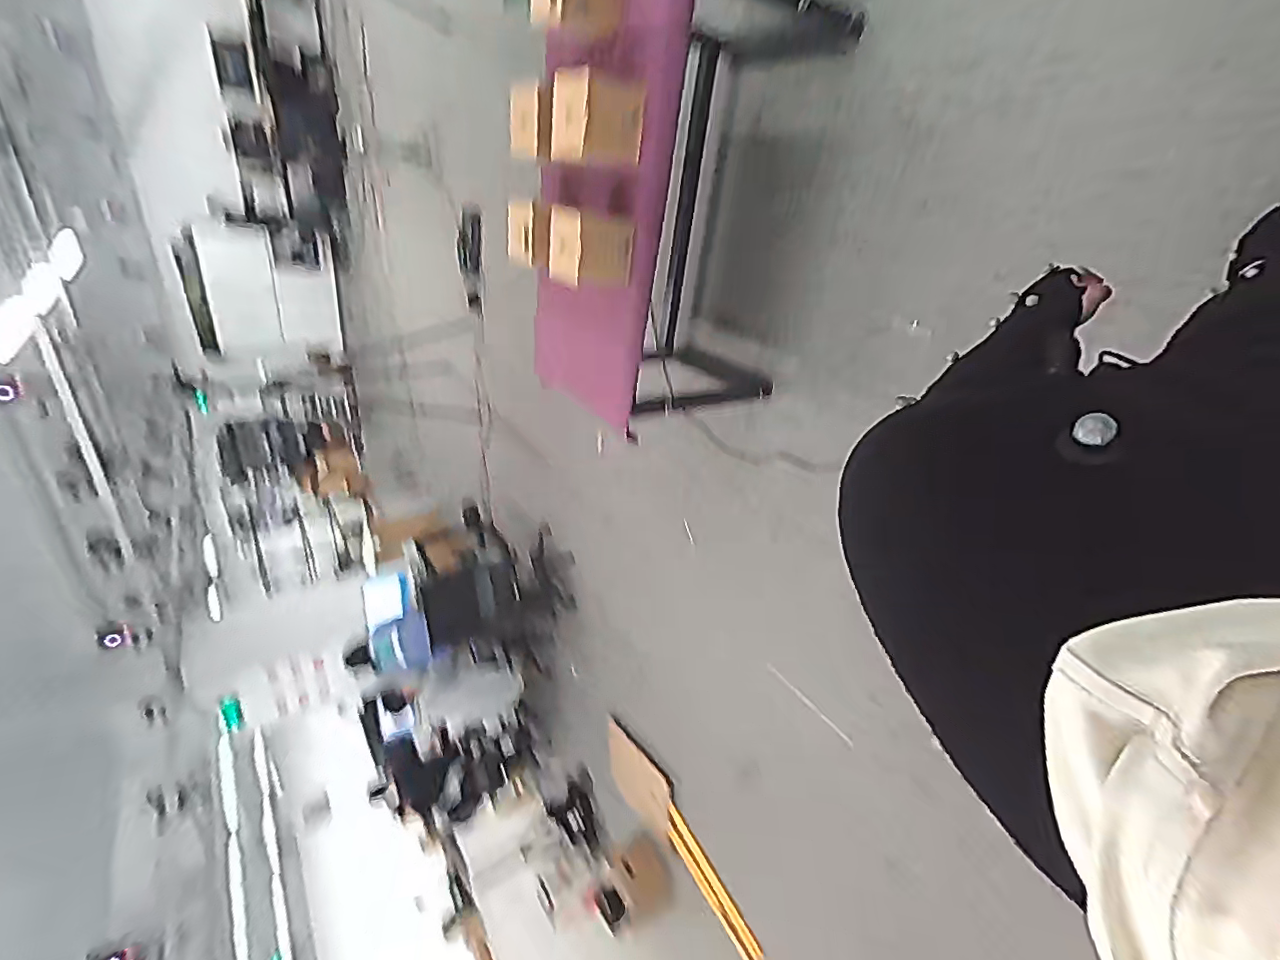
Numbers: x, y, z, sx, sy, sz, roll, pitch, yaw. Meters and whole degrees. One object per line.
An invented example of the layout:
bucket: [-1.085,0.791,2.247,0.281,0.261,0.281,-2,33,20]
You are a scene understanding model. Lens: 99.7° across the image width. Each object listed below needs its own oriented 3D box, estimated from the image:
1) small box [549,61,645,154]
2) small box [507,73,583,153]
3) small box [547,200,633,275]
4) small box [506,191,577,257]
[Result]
small box: [-0.111,-0.933,1.365,0.179,0.176,0.168,38,130,43]
small box: [-0.266,-1.044,1.548,0.179,0.176,0.168,36,130,42]
small box: [-0.140,-0.667,1.493,0.179,0.176,0.168,38,131,43]
small box: [-0.306,-0.797,1.686,0.179,0.176,0.168,38,130,43]
